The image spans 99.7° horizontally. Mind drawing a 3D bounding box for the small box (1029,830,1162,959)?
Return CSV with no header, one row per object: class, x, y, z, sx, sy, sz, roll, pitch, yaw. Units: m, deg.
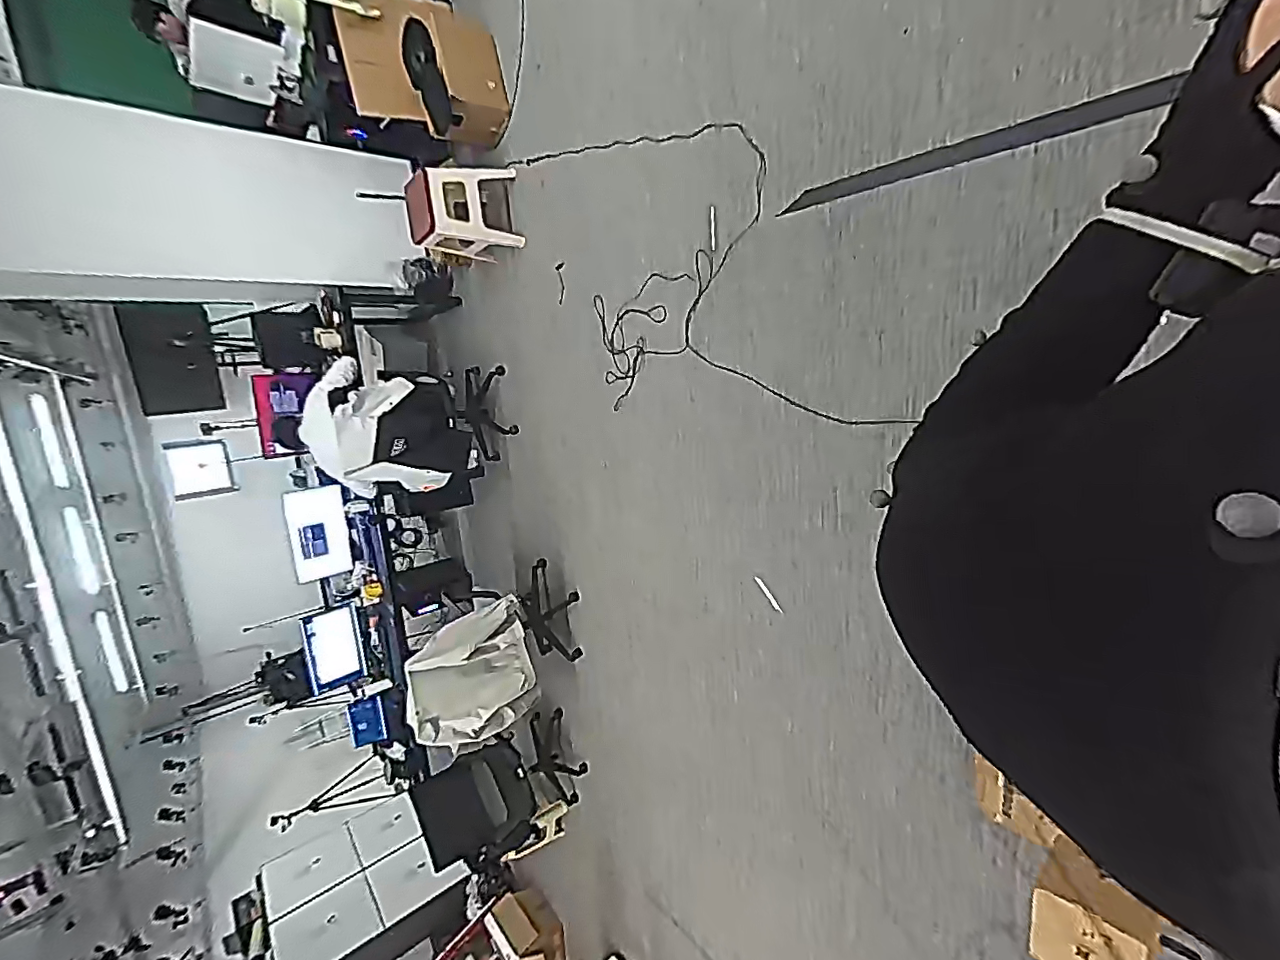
small box,0.892,0.847,1.059,0.168,0.176,0.179,9,109,50
